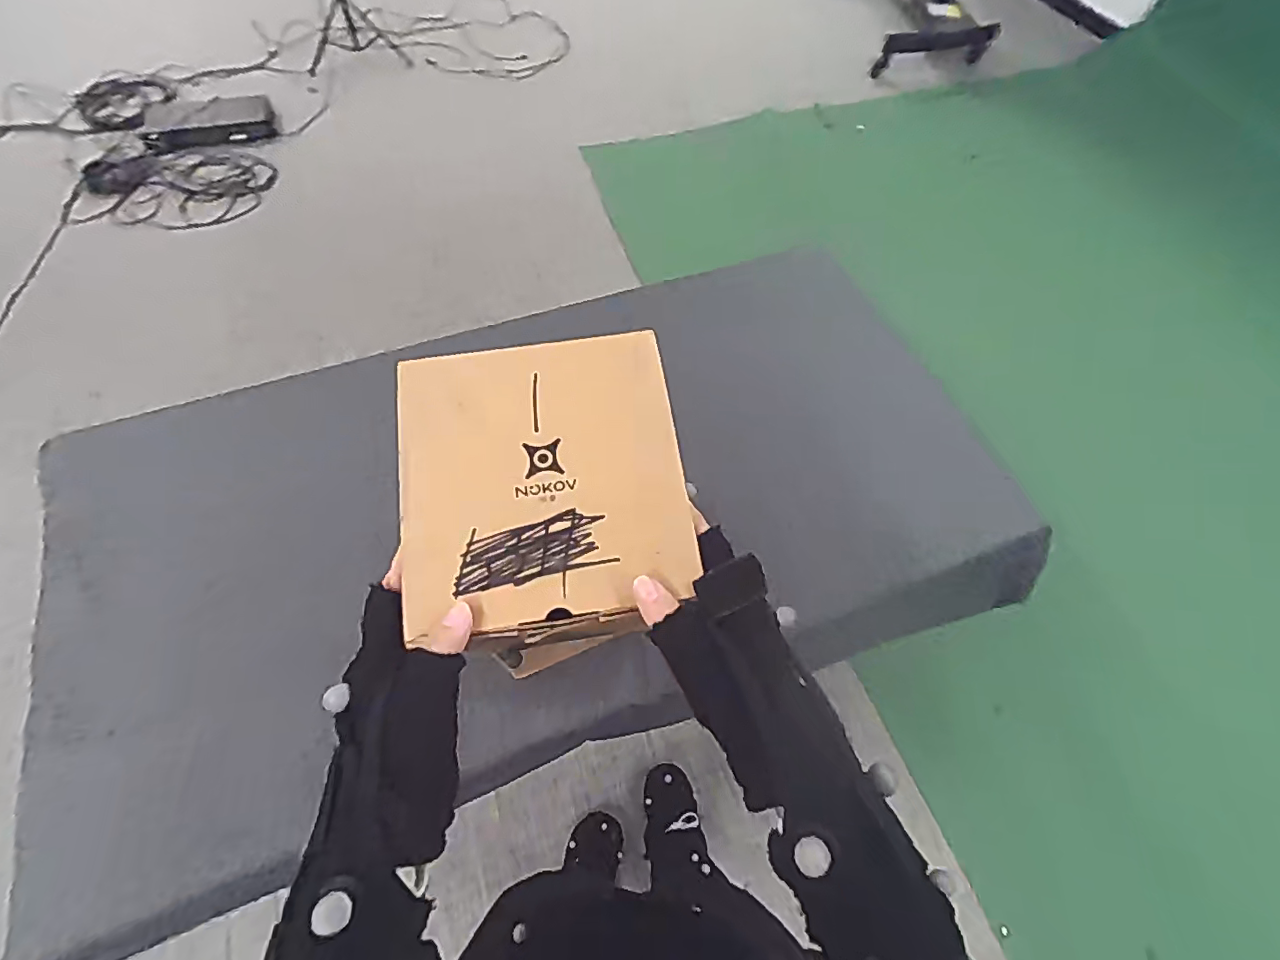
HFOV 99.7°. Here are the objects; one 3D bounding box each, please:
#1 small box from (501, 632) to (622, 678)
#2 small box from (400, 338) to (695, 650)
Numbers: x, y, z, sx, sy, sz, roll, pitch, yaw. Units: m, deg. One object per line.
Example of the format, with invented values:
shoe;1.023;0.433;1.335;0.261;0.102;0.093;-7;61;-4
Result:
small box;-0.095;0.098;0.606;0.179;0.176;0.168;-24;63;-16
small box;-0.060;0.025;0.397;0.168;0.176;0.179;-8;70;-4
